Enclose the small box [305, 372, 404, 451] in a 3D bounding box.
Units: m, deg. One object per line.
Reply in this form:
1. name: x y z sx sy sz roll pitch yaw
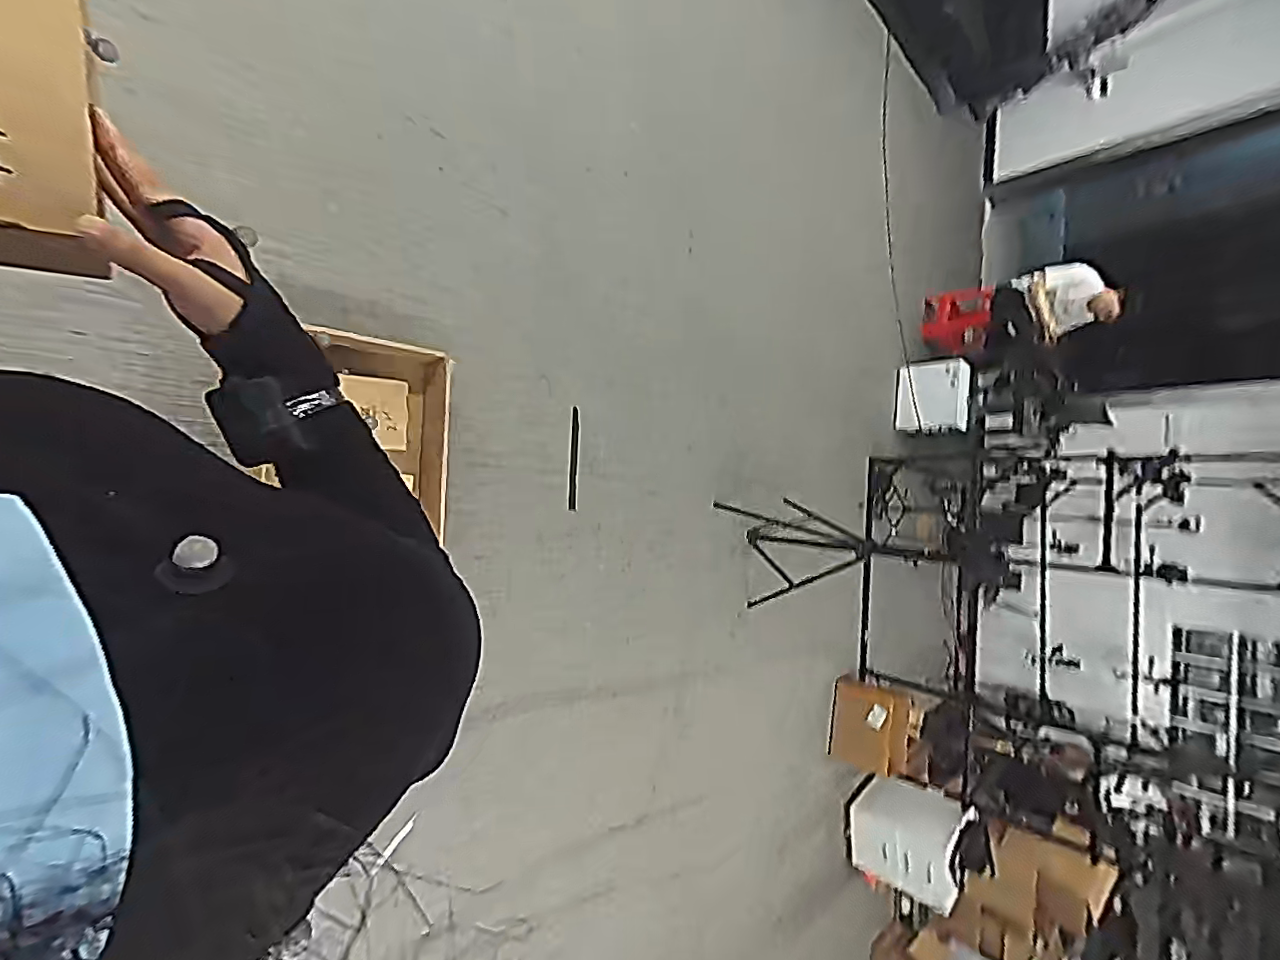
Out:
1. small box: -0.686 -0.156 1.295 0.179 0.176 0.168 1 92 -44
